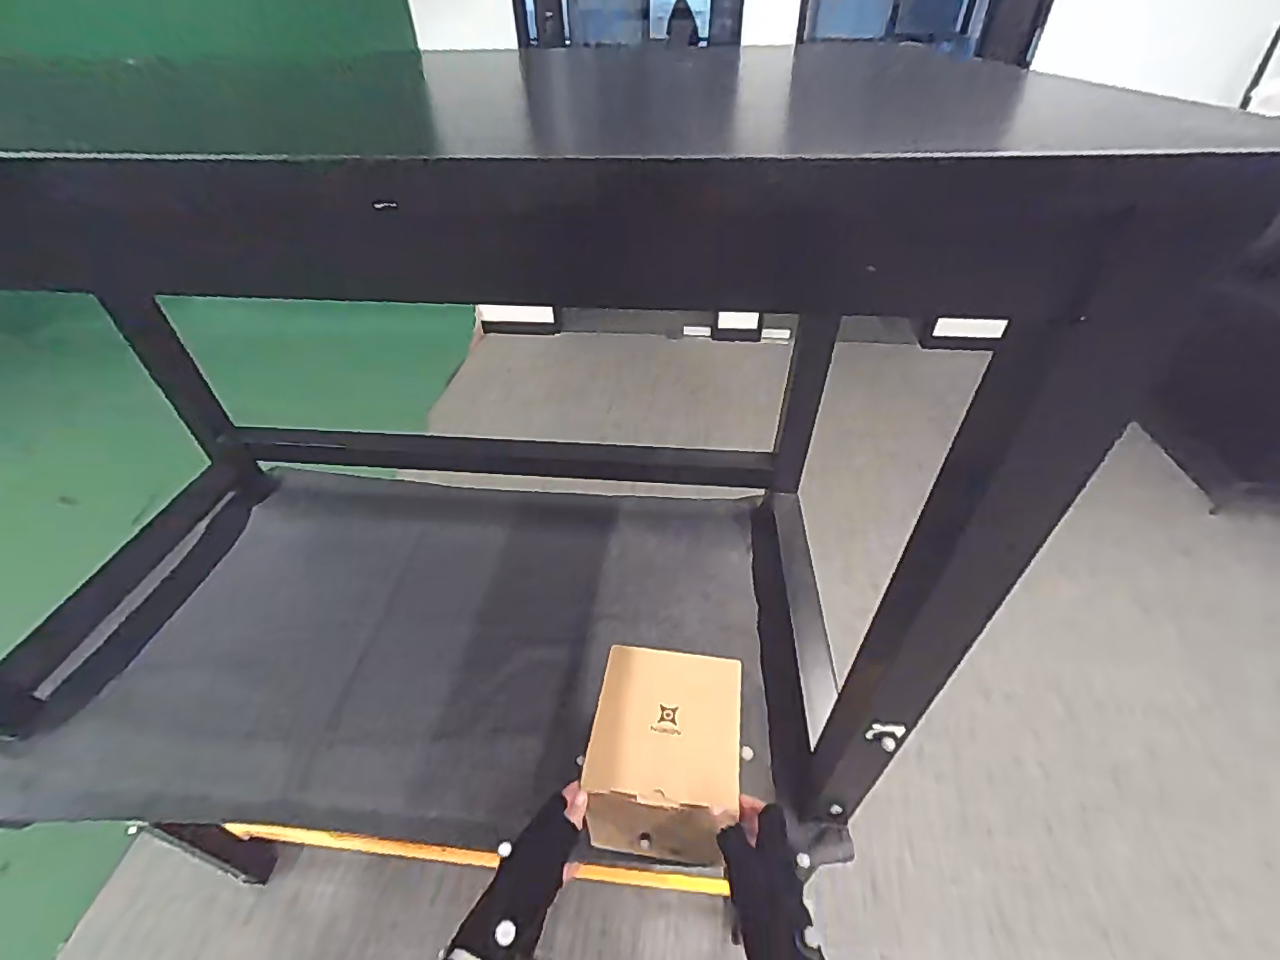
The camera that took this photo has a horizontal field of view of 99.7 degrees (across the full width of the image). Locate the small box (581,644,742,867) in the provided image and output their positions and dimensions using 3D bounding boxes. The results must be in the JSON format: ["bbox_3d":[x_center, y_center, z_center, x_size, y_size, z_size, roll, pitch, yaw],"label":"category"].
[{"bbox_3d":[0.032,0.331,0.658,0.168,0.176,0.179,5,40,8],"label":"small box"}]
